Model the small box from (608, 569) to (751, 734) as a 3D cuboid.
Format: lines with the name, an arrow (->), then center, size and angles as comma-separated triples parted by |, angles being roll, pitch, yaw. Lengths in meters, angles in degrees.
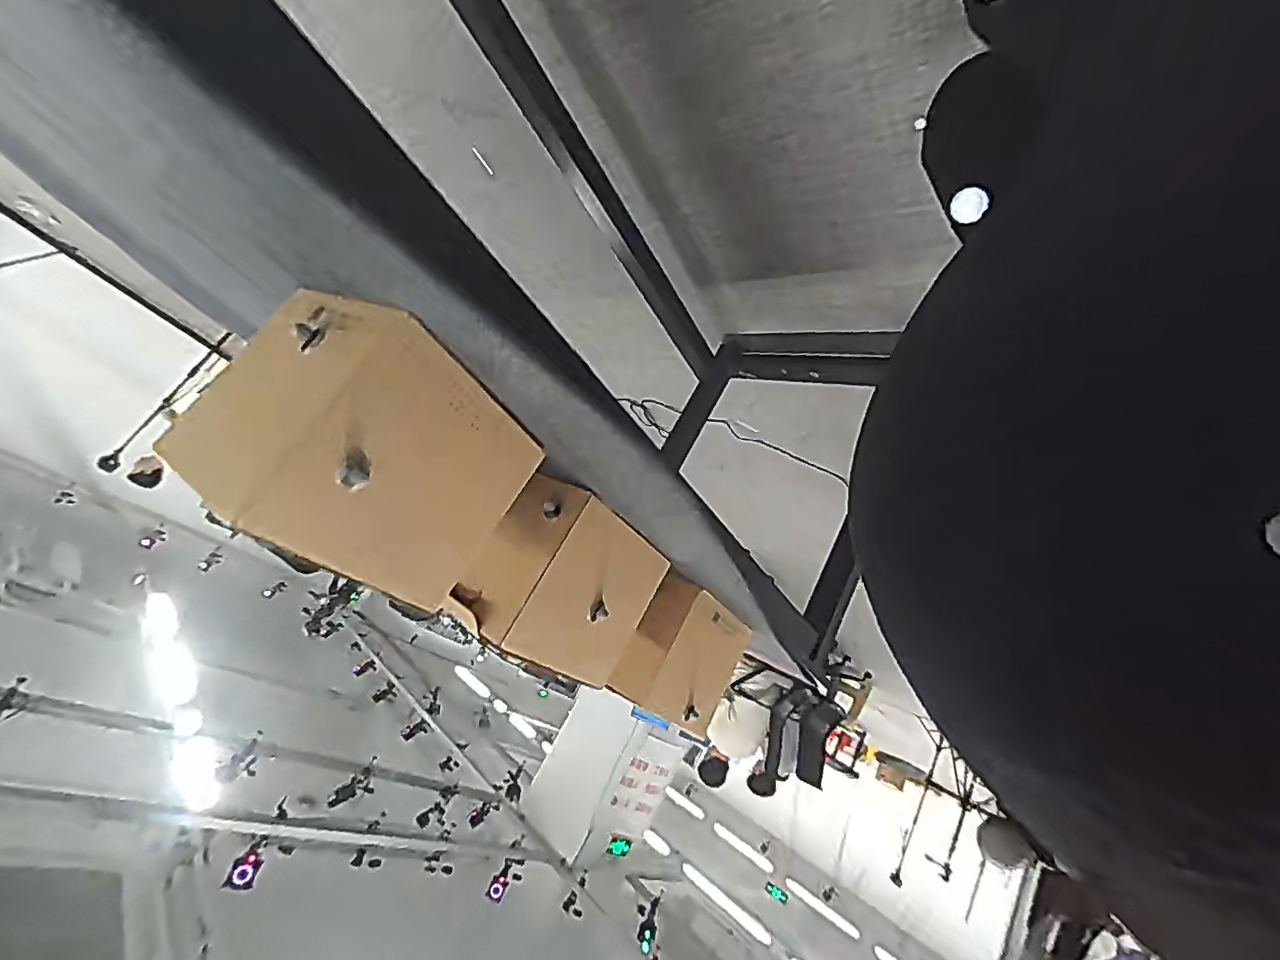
small box -> 0.028, 0.226, 0.777 | 0.179, 0.176, 0.168 | 13, 156, 45

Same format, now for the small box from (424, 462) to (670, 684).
small box -> -0.097, 0.100, 0.614 | 0.168, 0.176, 0.179 | 18, 161, 41
